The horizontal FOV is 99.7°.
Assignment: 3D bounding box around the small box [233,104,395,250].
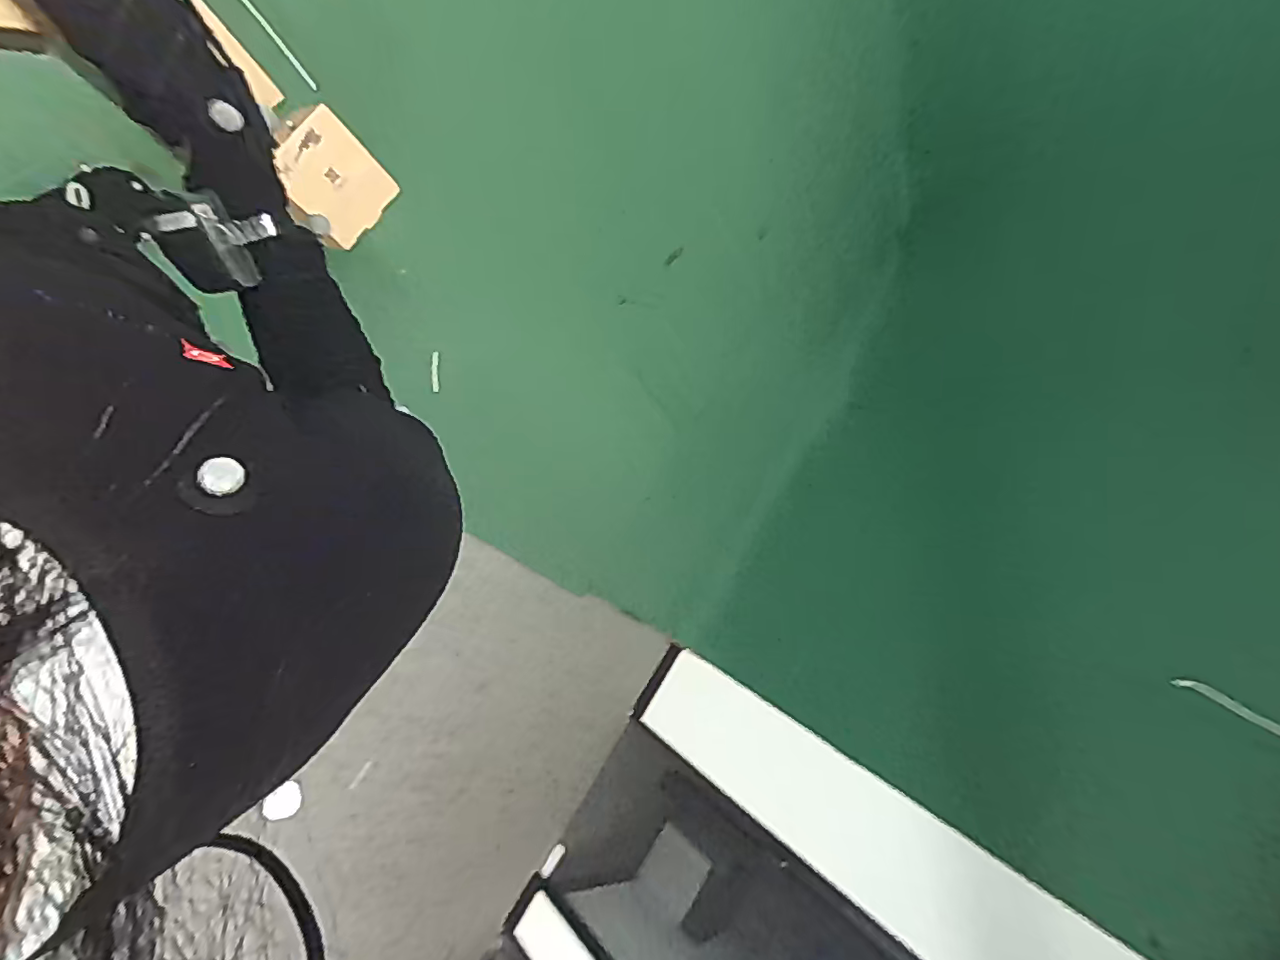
[{"bbox_3d":[-0.617,-0.571,1.027,0.168,0.176,0.179,-56,142,-11],"label":"small box"}]
